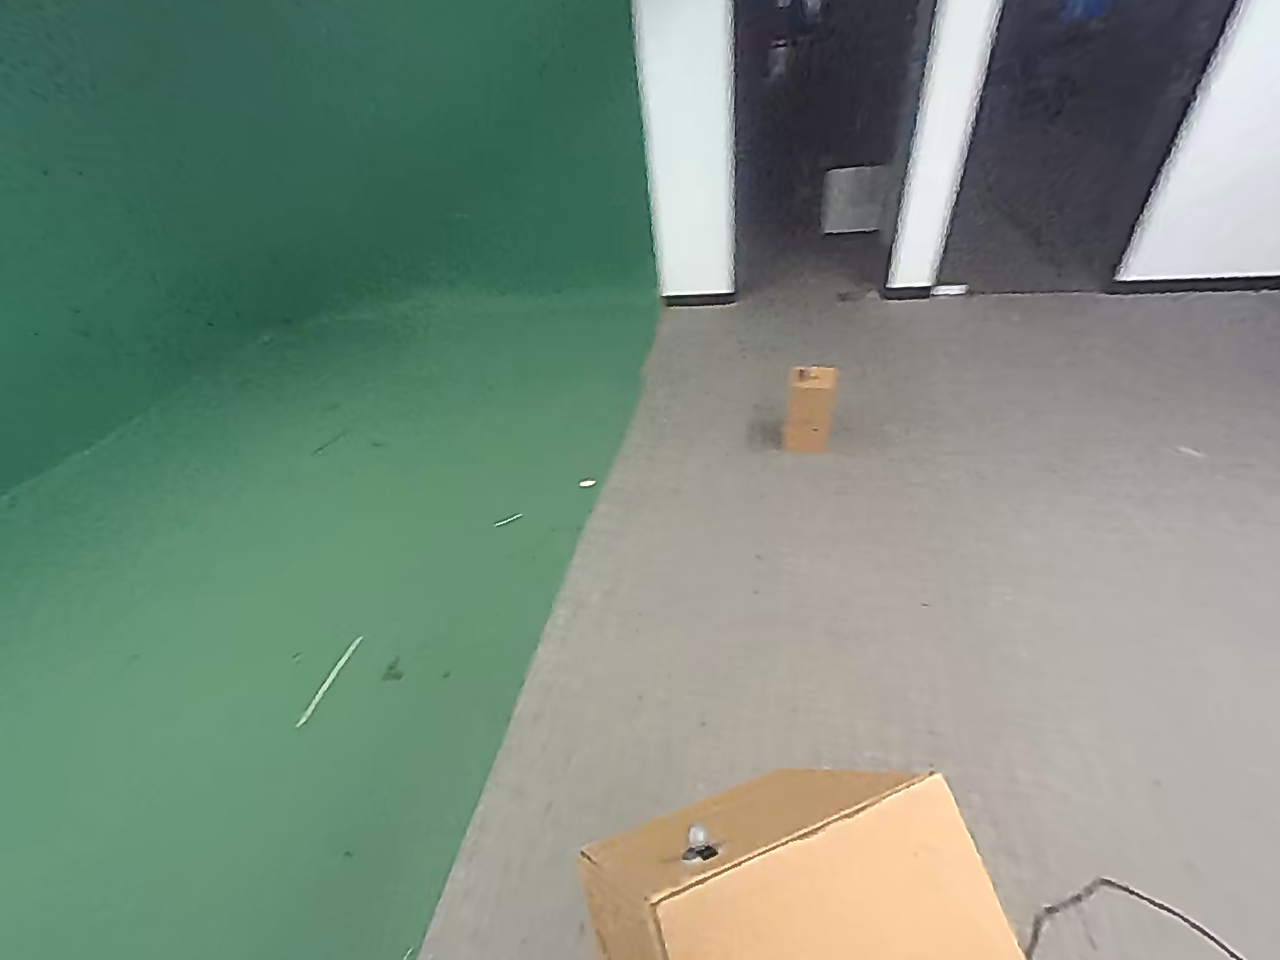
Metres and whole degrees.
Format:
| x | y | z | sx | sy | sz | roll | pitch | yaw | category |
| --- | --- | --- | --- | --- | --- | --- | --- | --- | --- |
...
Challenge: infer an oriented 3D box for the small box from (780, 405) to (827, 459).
| x | y | z | sx | sy | sz | roll | pitch | yaw | category |
| --- | --- | --- | --- | --- | --- | --- | --- | --- | --- |
| 0.715 | -0.209 | 2.369 | 0.179 | 0.176 | 0.168 | 7 | 42 | 18 | small box |

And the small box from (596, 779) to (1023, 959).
| x | y | z | sx | sy | sz | roll | pitch | yaw | category |
| --- | --- | --- | --- | --- | --- | --- | --- | --- | --- |
| 0.088 | 0.283 | 0.304 | 0.179 | 0.176 | 0.168 | -8 | 67 | -20 | small box |
